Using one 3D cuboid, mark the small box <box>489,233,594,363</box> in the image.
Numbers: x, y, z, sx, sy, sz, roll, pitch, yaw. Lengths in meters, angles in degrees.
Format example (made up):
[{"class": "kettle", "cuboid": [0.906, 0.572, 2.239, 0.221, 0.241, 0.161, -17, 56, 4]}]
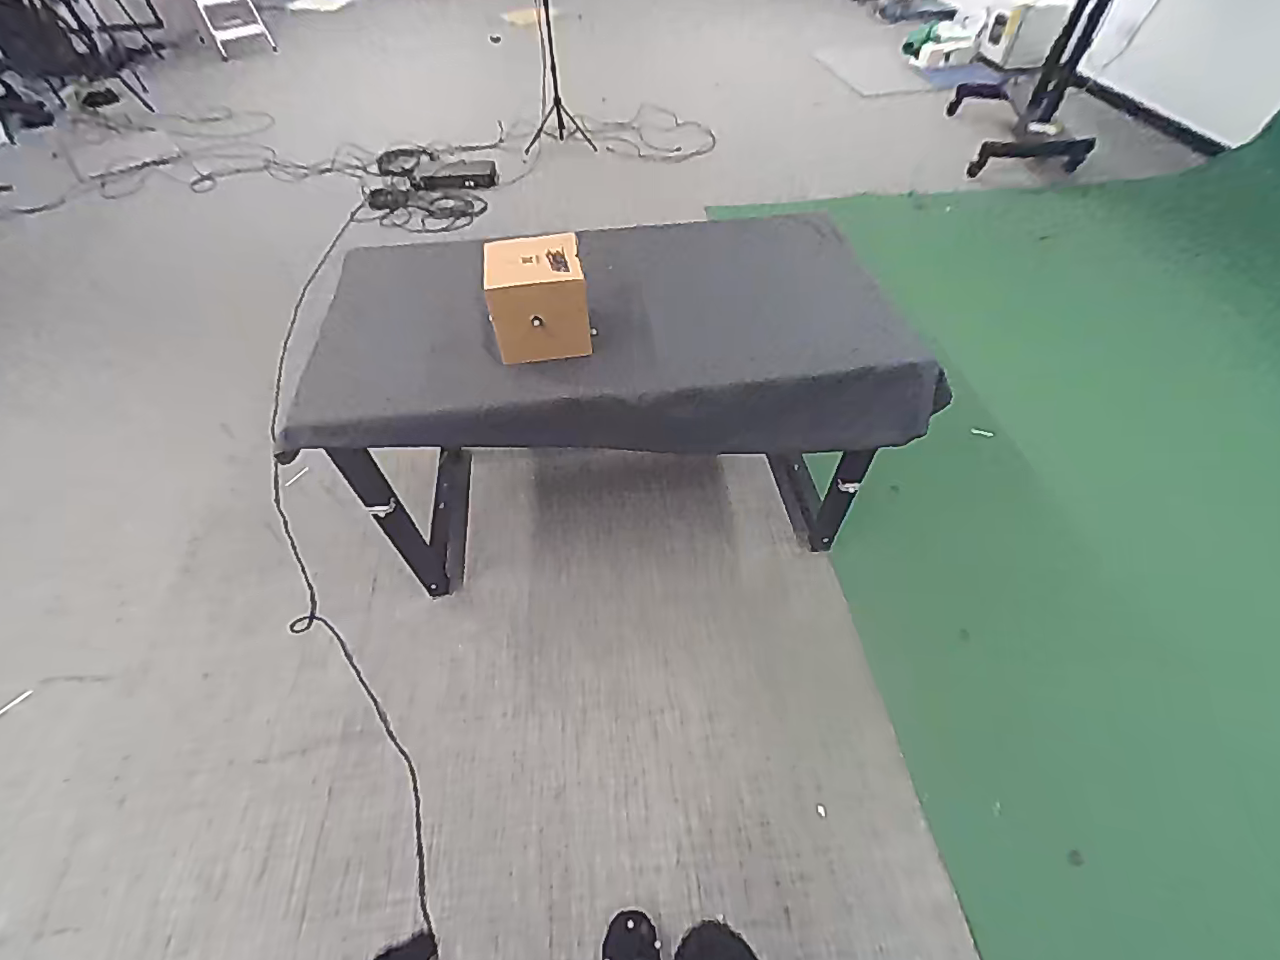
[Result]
[{"class": "small box", "cuboid": [-0.185, -0.349, 1.045, 0.179, 0.176, 0.168, -10, 53, -8]}]
